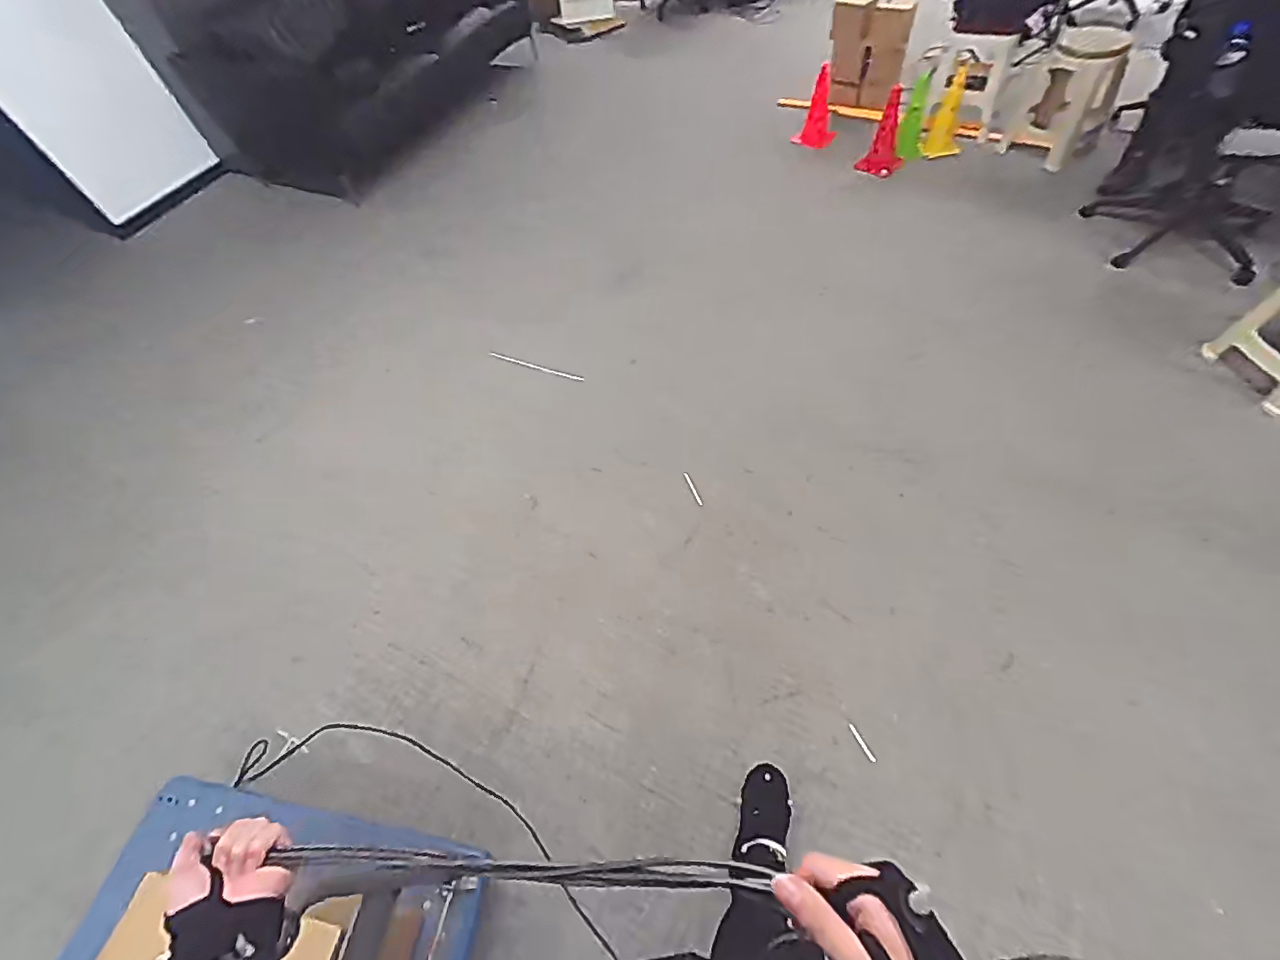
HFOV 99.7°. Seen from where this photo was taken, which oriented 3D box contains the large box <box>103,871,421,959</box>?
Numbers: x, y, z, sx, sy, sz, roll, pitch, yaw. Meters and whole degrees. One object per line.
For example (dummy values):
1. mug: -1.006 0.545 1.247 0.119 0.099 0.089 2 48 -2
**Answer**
1. large box: -0.684 0.926 0.961 0.408 0.320 0.320 5 56 12
